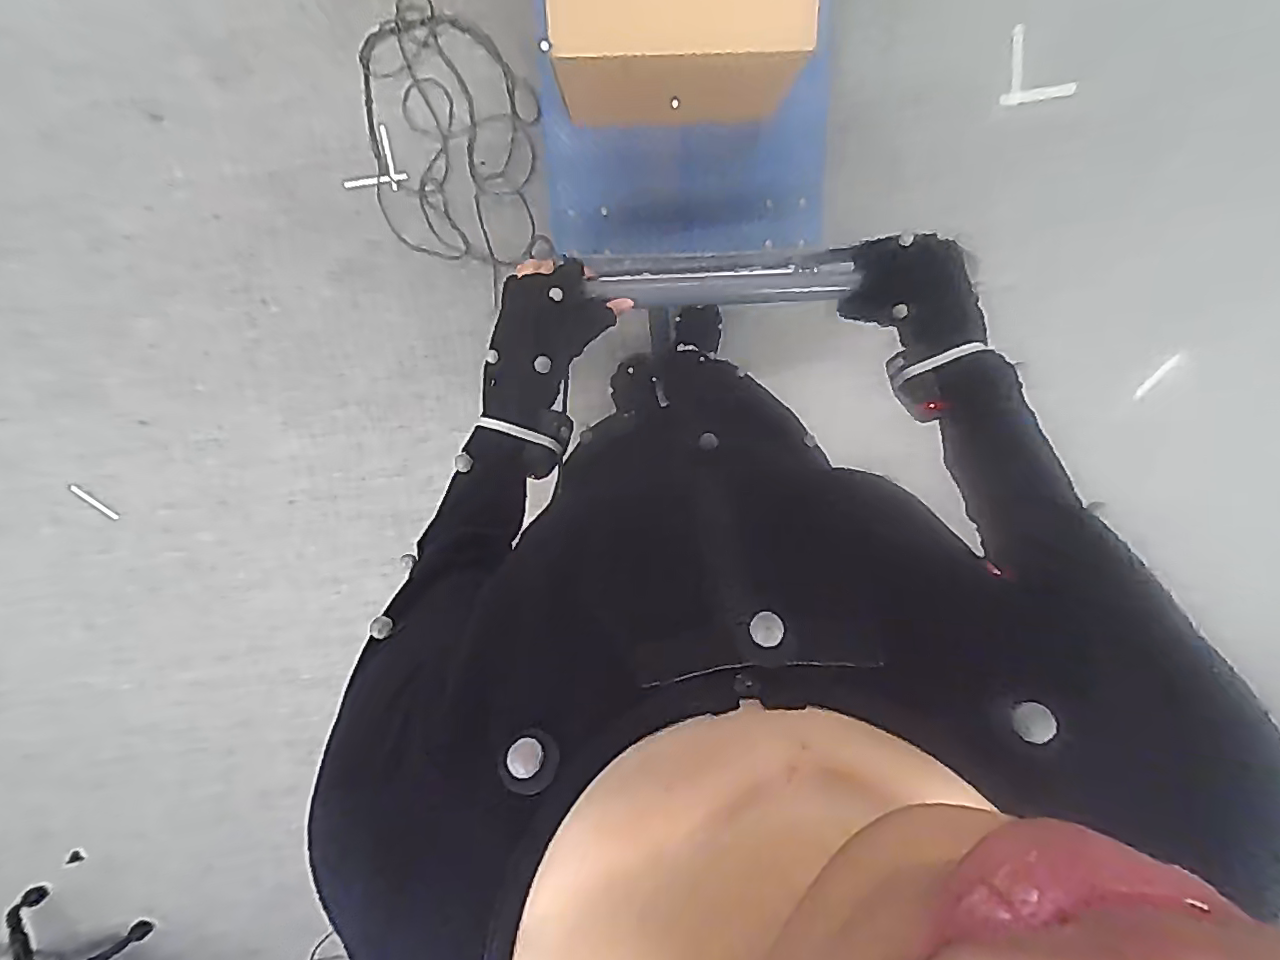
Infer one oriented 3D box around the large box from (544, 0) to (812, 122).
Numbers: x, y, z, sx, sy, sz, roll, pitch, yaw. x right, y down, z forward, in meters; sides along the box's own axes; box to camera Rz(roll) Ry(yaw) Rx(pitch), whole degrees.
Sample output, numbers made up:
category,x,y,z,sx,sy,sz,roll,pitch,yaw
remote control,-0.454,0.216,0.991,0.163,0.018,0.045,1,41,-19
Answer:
category,x,y,z,sx,sy,sz,roll,pitch,yaw
large box,0.055,-0.835,0.918,0.408,0.320,0.320,-2,107,0
